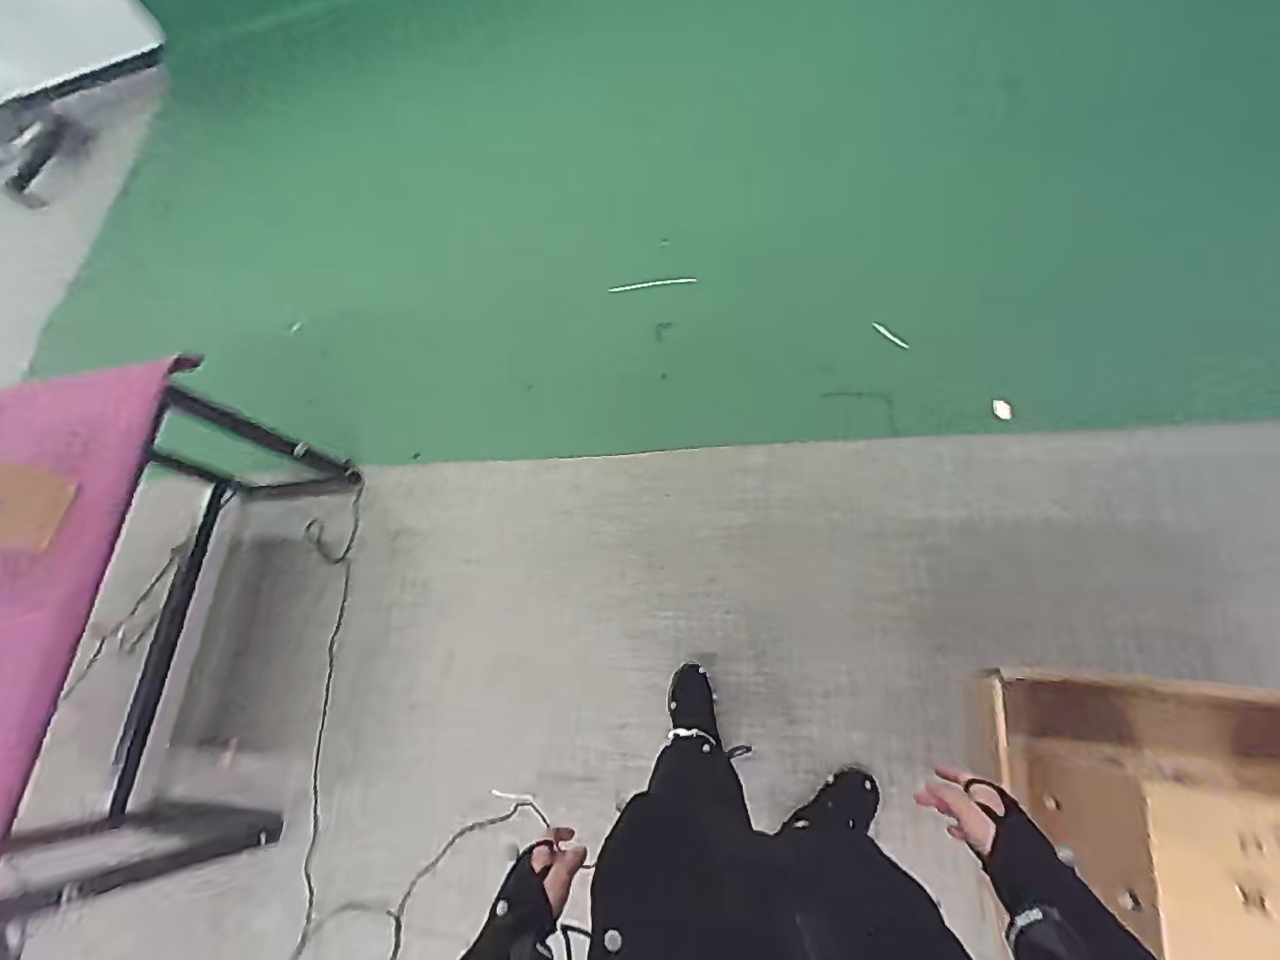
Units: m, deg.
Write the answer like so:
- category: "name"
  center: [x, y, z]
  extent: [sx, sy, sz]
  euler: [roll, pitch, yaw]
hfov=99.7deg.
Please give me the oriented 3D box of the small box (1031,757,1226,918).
- category: "small box"
  center: [0.679, 0.504, 0.760]
  extent: [0.168, 0.176, 0.179]
  euler: [3, 71, 16]

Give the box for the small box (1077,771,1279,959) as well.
- category: "small box"
  center: [0.633, 0.451, 0.610]
  extent: [0.168, 0.176, 0.179]
  euler: [4, 71, 16]

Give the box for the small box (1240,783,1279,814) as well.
- category: "small box"
  center: [0.940, 0.509, 0.687]
  extent: [0.168, 0.176, 0.179]
  euler: [1, 70, 17]

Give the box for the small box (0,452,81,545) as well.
- category: "small box"
  center: [-1.403, 0.034, 1.187]
  extent: [0.168, 0.176, 0.179]
  euler: [7, 72, 19]
